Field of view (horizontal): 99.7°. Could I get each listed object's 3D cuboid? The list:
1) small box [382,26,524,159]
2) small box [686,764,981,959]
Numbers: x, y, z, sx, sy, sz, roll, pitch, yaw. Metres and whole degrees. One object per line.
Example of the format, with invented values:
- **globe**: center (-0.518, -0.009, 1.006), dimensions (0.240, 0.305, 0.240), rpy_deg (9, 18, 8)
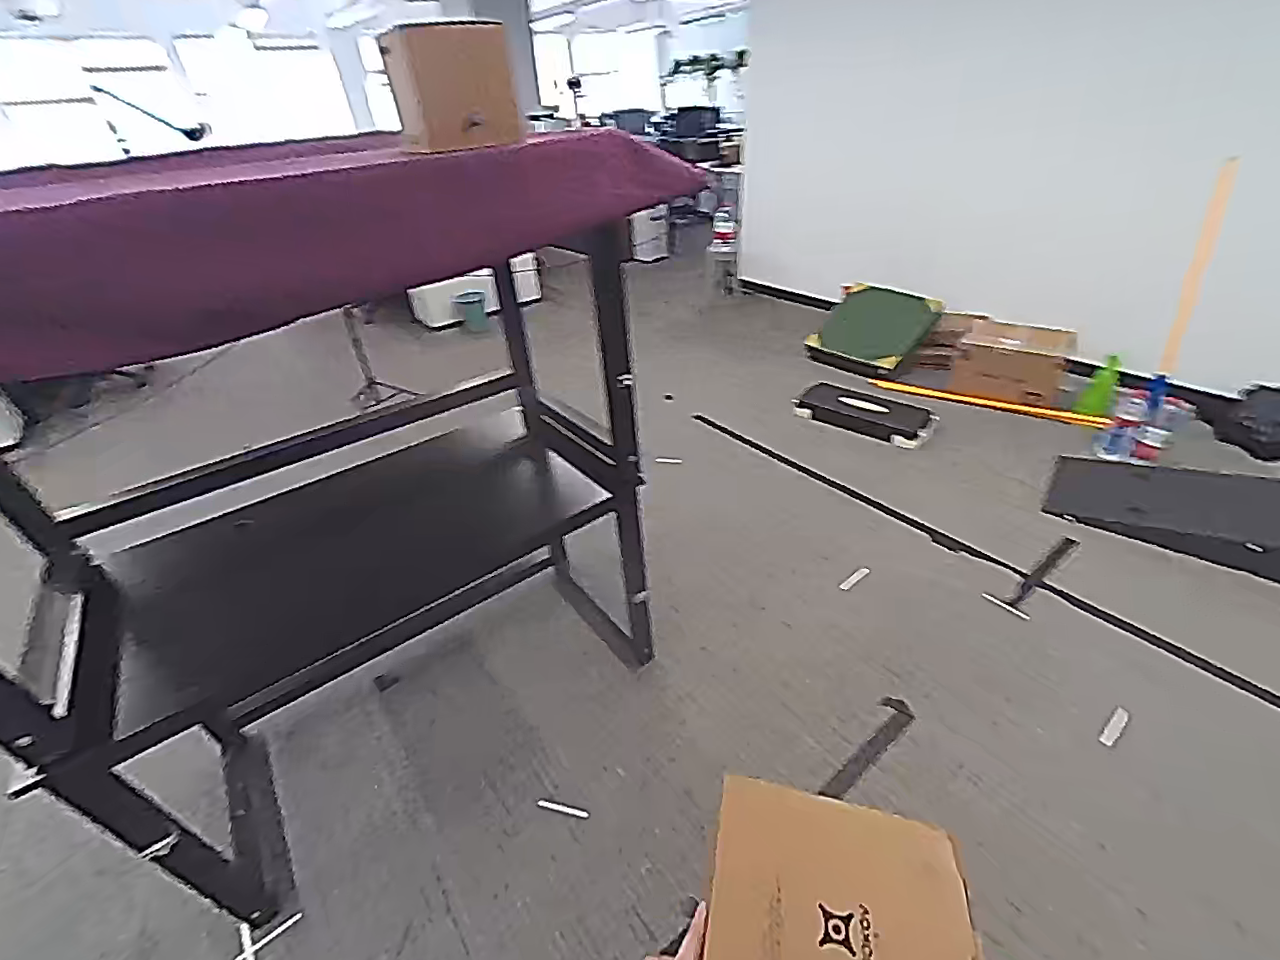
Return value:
- **small box**: center (-0.314, -0.663, 0.934), dimensions (0.179, 0.176, 0.168), rpy_deg (-25, 38, -26)
- **small box**: center (0.129, 0.350, 0.403), dimensions (0.179, 0.176, 0.168), rpy_deg (9, 39, 10)
